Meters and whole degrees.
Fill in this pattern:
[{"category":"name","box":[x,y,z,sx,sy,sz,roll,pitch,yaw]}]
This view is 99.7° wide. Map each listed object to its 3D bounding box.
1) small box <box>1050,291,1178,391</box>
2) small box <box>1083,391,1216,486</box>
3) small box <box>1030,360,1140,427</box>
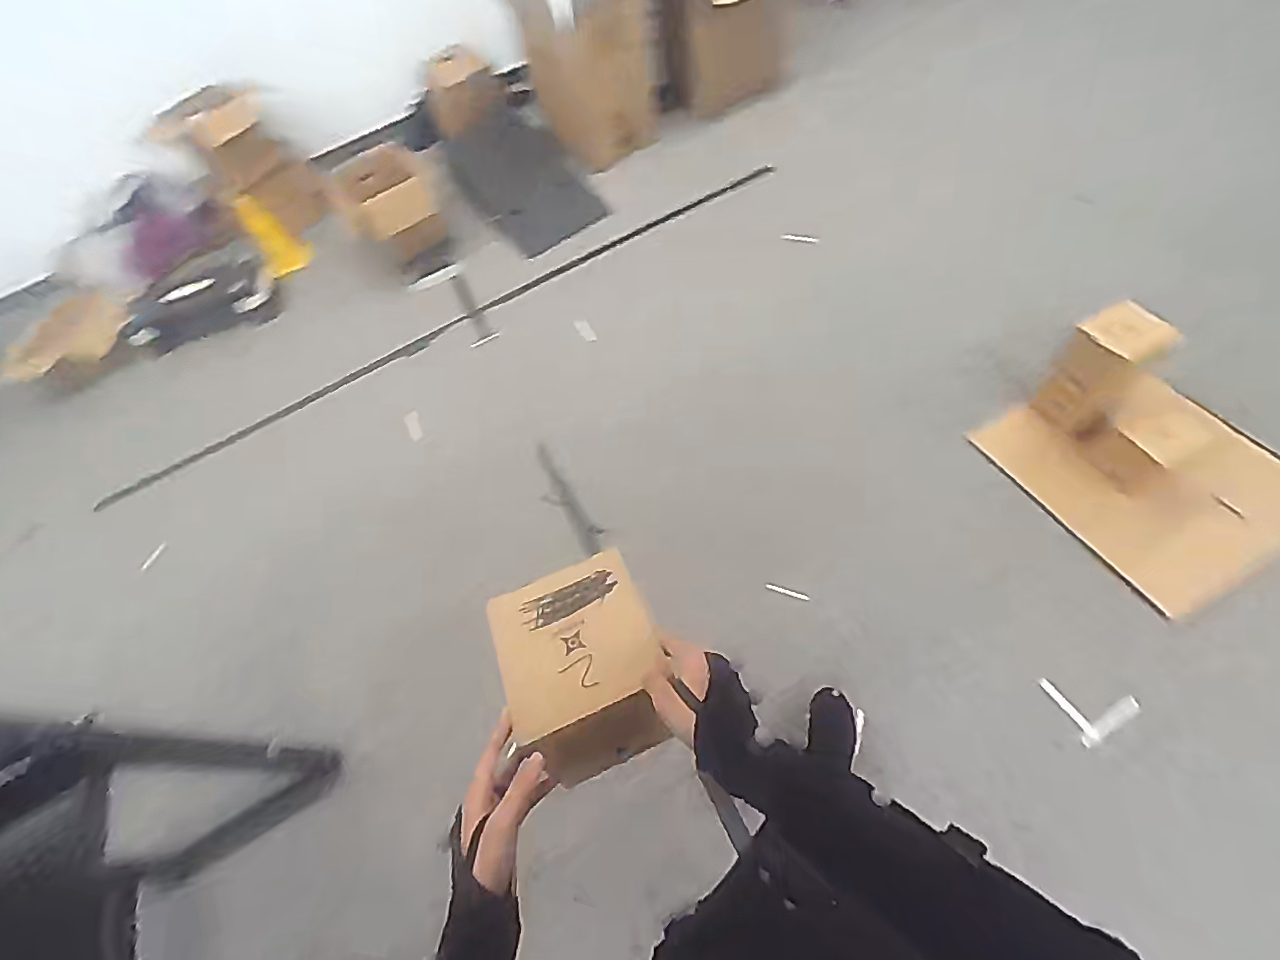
[{"category":"small box","box":[1.303,-0.382,1.504,0.179,0.176,0.168,-26,58,-4]},{"category":"small box","box":[1.416,-0.112,1.519,0.179,0.176,0.168,-26,59,-4]},{"category":"small box","box":[1.330,-0.290,1.639,0.179,0.176,0.168,-27,58,-4]}]
